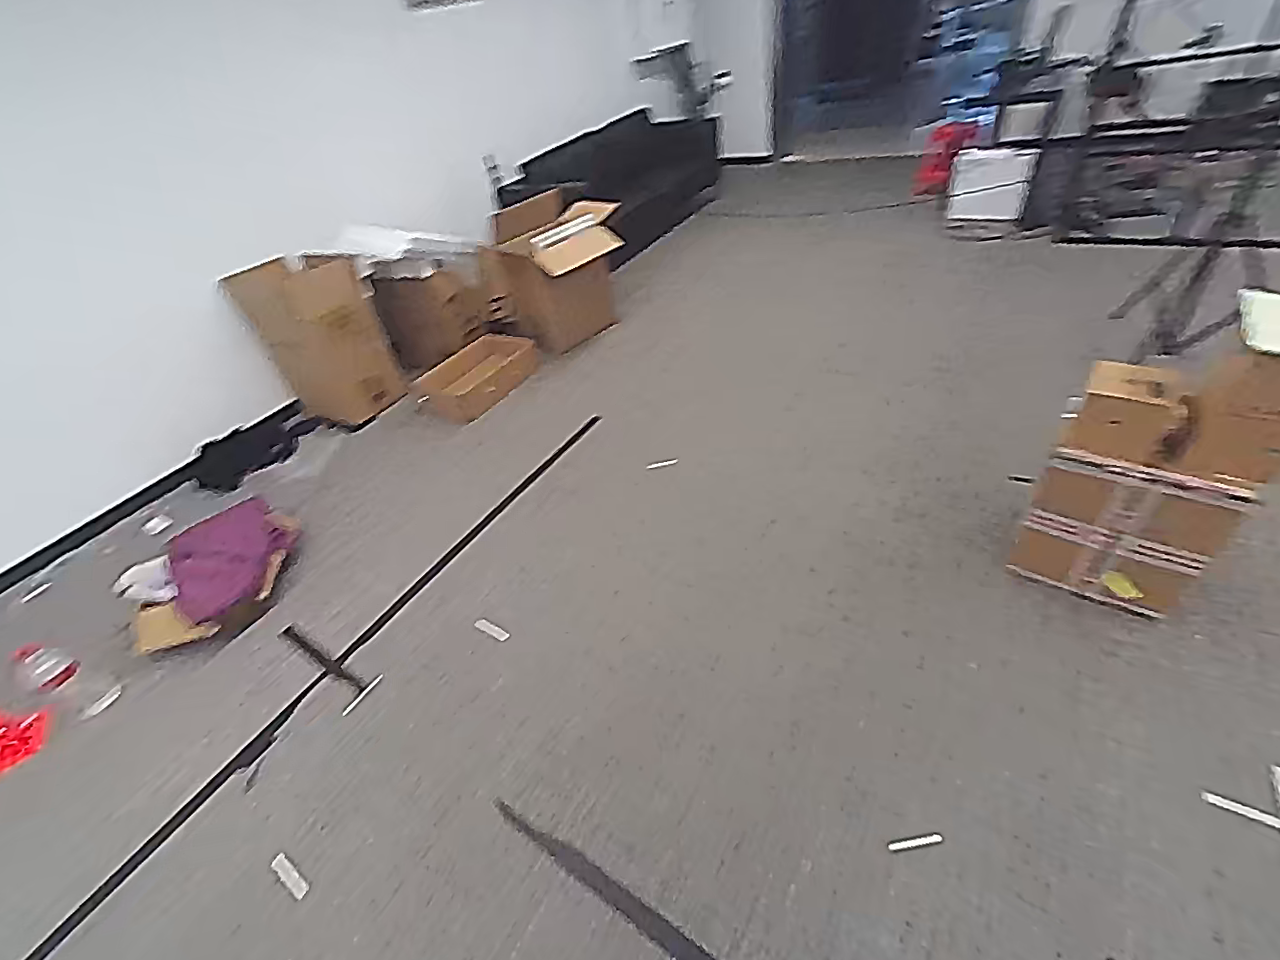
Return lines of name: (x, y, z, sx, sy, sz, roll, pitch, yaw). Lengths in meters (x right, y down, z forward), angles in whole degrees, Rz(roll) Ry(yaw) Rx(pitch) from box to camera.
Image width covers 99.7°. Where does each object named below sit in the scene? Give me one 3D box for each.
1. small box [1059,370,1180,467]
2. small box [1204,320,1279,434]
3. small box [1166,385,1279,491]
small box: (1.222, -0.155, 1.386, 0.179, 0.176, 0.168, 23, 53, 36)
small box: (1.379, -0.222, 1.174, 0.168, 0.176, 0.179, 19, 50, 29)
small box: (1.401, -0.098, 1.277, 0.179, 0.176, 0.168, 17, 49, 28)
